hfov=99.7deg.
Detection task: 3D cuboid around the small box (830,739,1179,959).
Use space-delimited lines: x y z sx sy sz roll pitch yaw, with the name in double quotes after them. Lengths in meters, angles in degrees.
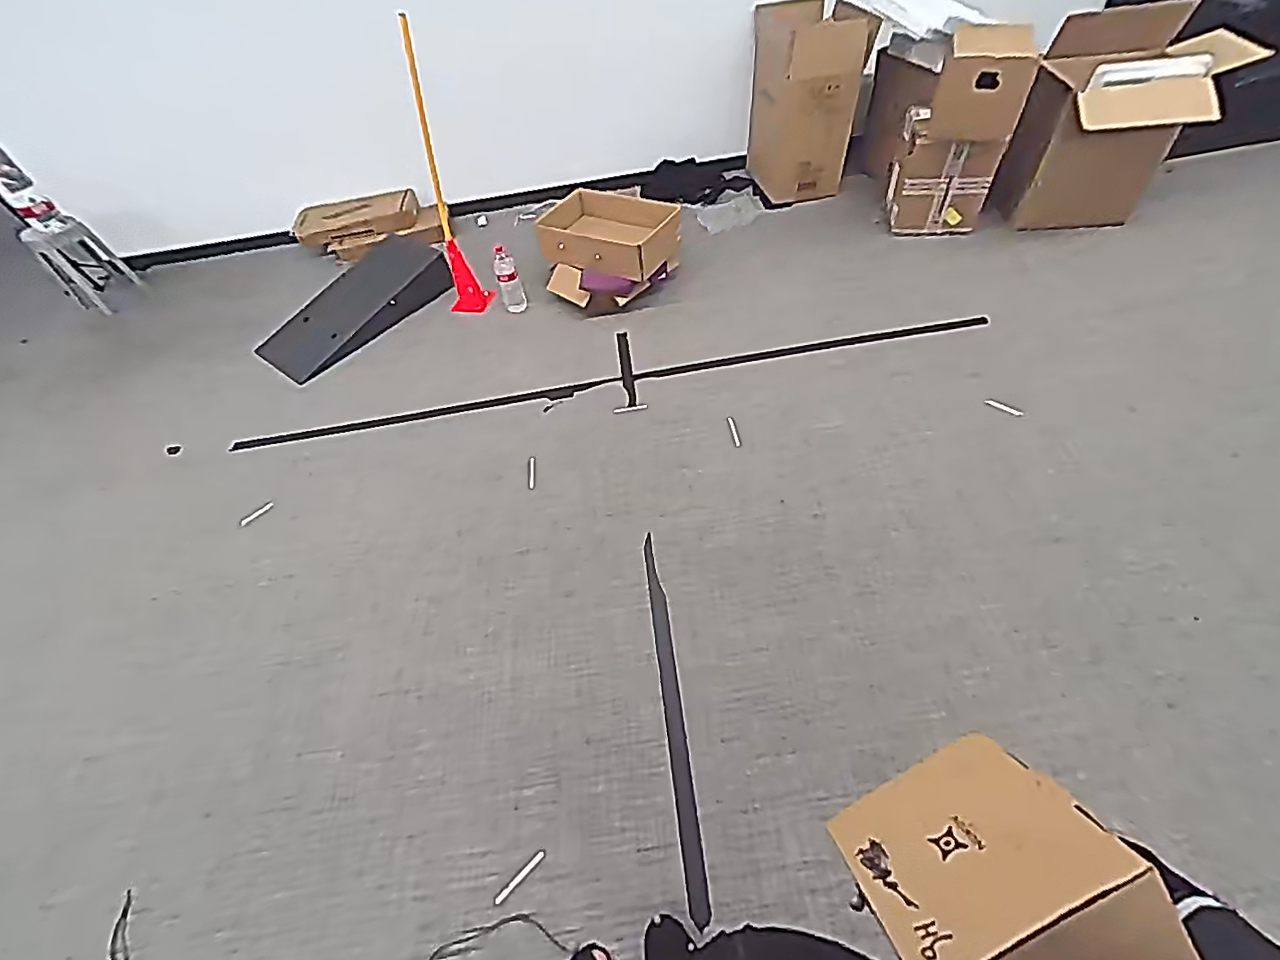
0.299 0.368 0.452 0.179 0.168 0.176 -28 95 -1 "small box"
